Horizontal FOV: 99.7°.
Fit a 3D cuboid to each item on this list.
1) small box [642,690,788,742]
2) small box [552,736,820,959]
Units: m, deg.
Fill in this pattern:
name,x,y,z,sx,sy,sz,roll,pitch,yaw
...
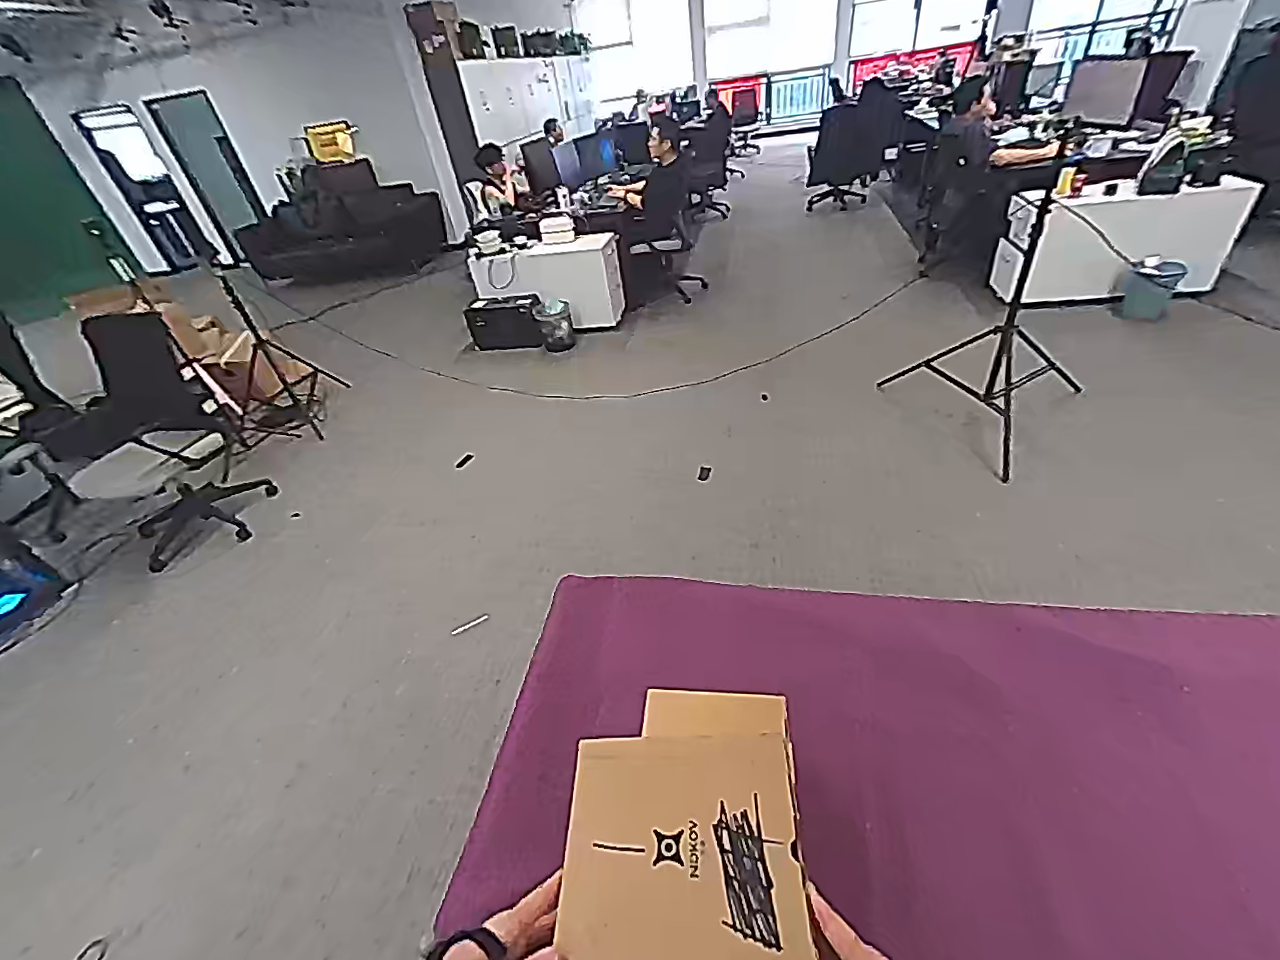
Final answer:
name,x,y,z,sx,sy,sz,roll,pitch,yaw
small box,0.096,0.386,0.676,0.179,0.176,0.168,-1,37,10
small box,0.045,0.331,0.447,0.179,0.176,0.168,-6,39,9
